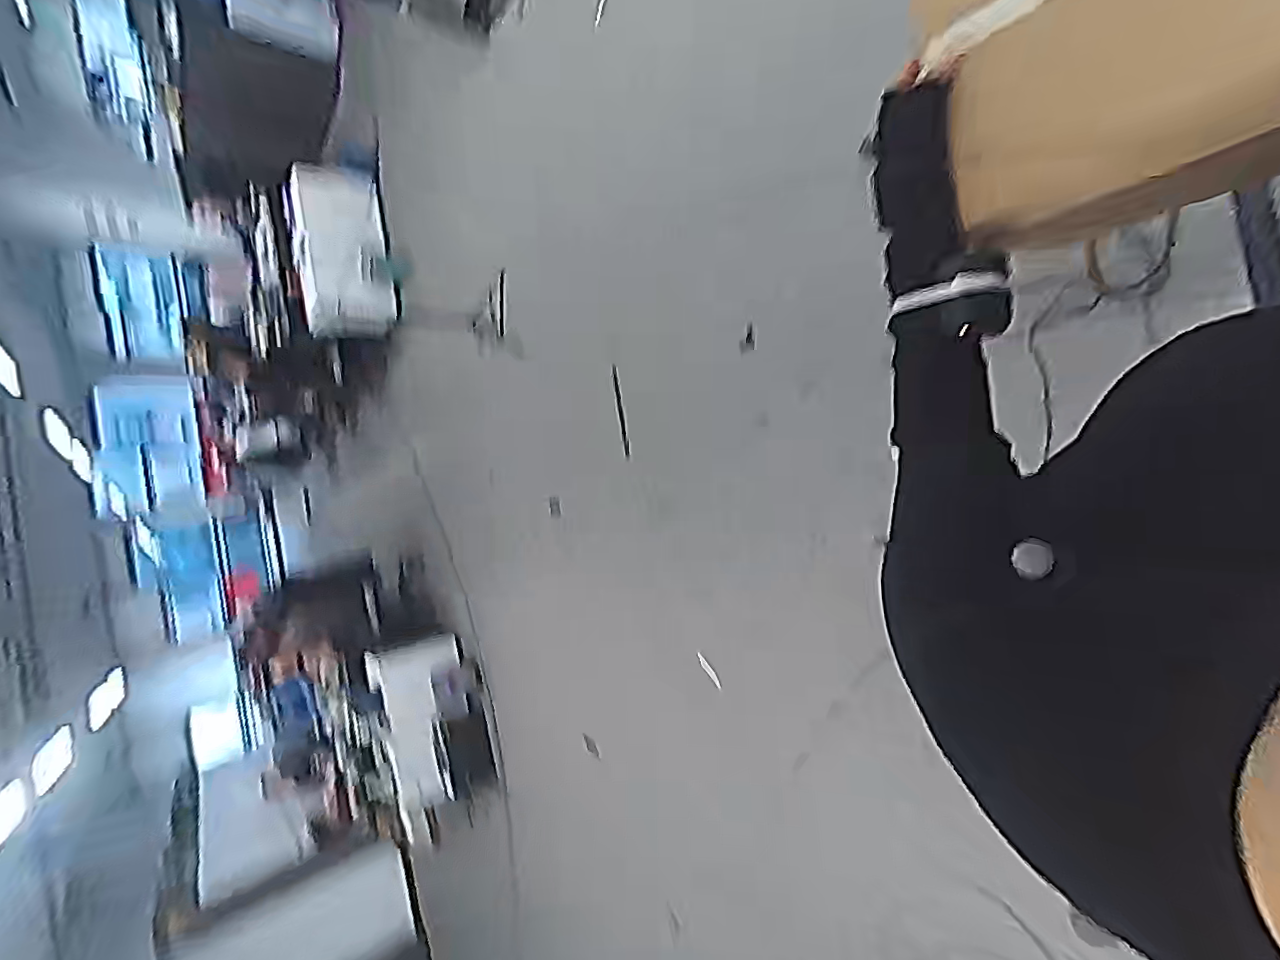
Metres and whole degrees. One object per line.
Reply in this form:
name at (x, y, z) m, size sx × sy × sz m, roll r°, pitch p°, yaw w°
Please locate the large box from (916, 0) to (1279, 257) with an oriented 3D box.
large box at (0.480, -0.411, 0.417) m, size 0.408 × 0.320 × 0.320 m, roll -11°, pitch 97°, yaw 46°
